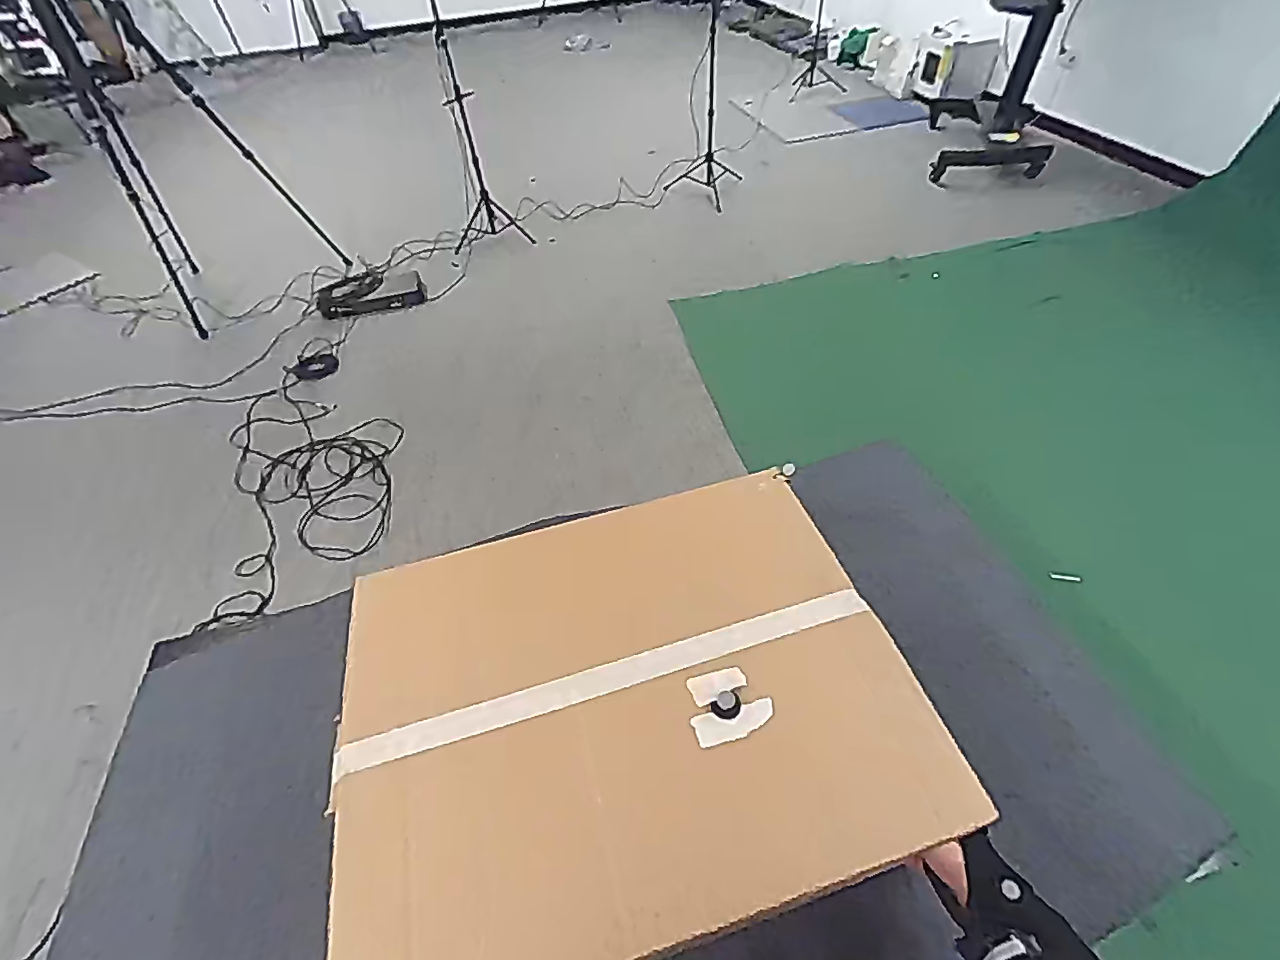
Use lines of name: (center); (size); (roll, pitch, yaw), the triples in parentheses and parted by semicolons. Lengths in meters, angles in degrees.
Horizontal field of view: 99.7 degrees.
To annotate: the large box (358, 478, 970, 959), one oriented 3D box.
large box: (-0.003, 0.253, 0.533); (0.408, 0.320, 0.320); (-14, 50, -8)
